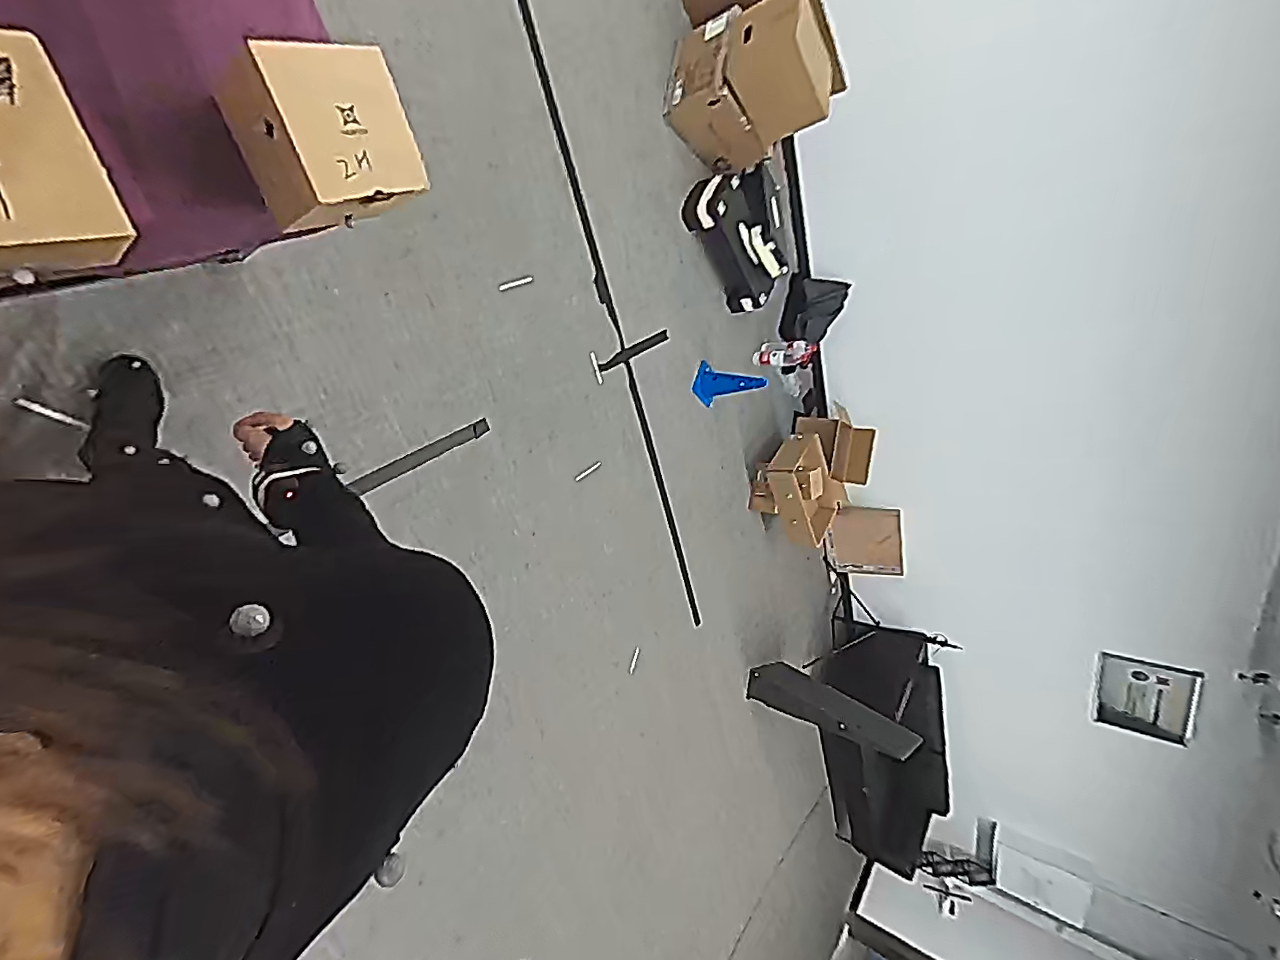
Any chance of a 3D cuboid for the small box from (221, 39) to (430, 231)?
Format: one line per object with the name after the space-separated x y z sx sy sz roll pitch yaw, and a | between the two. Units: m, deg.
-0.436 -0.468 0.751 0.168 0.176 0.179 -37 121 -39 | small box
